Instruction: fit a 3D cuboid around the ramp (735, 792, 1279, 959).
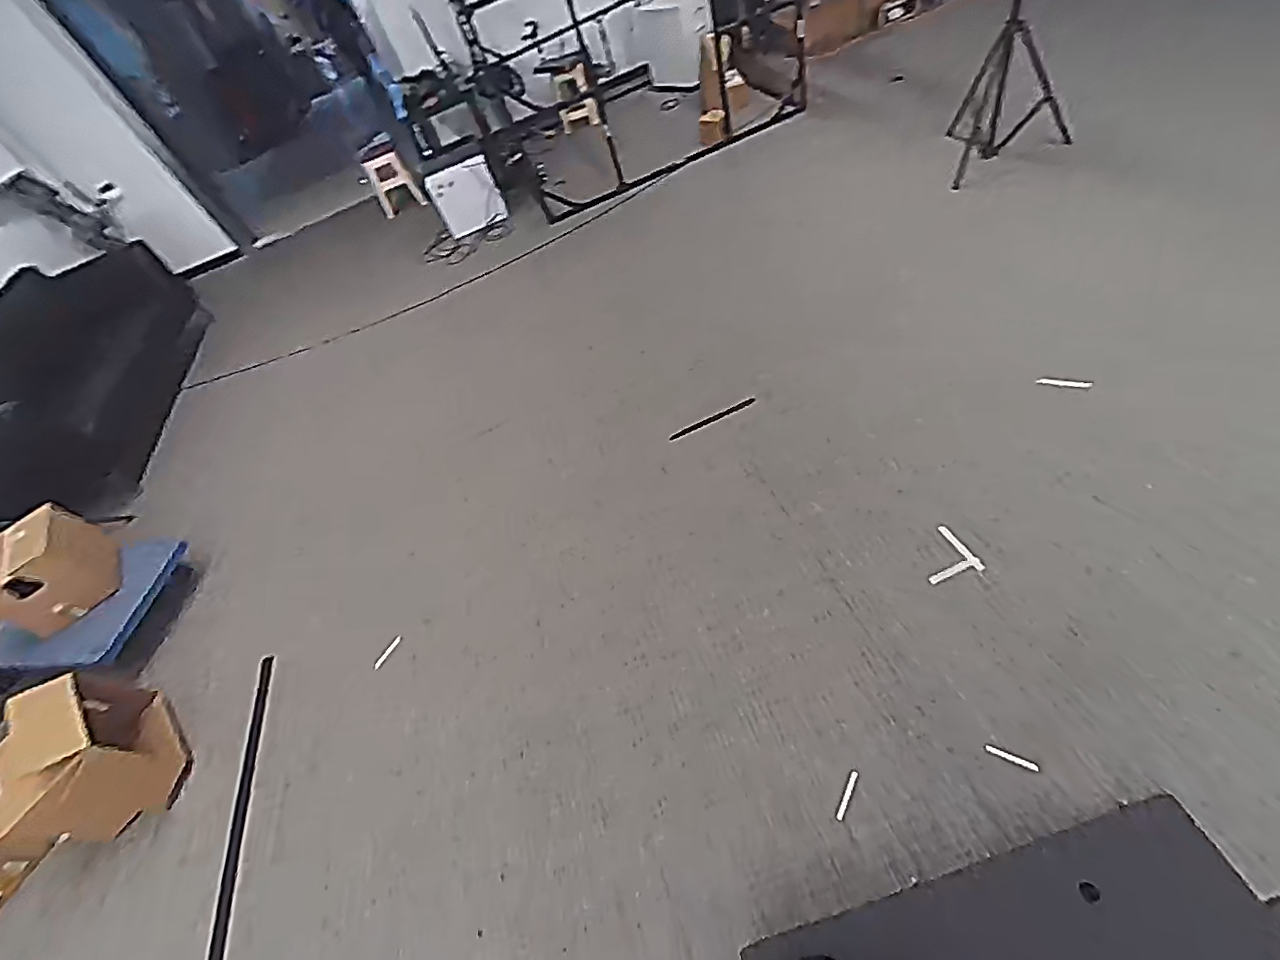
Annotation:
[{"bbox_3d":[0.726,0.981,0.981,0.991,0.206,0.509,-23,48,0],"label":"ramp"}]
